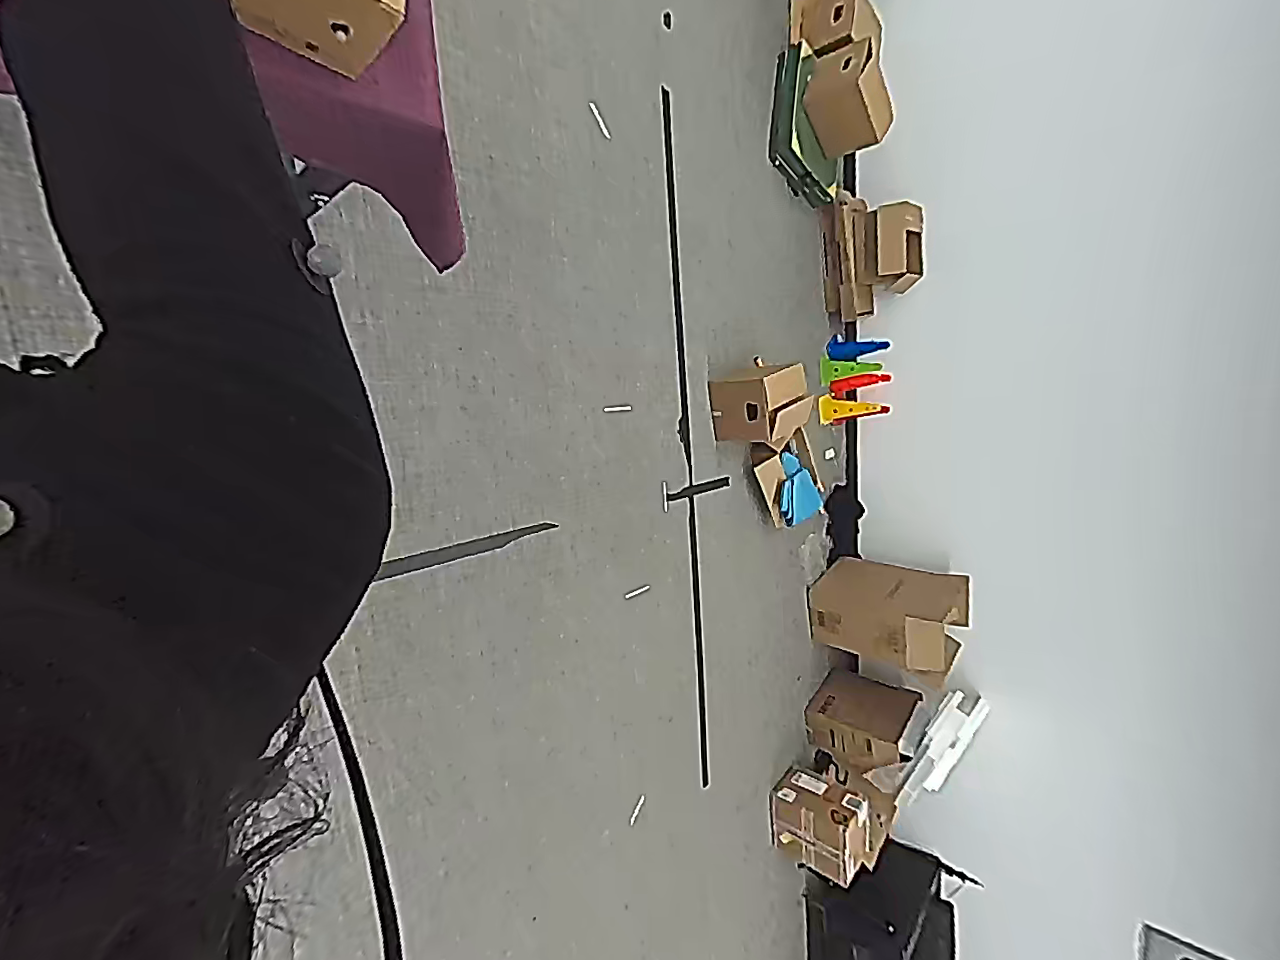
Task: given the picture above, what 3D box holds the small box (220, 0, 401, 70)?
[{"bbox_3d":[-0.397,-0.638,0.633,0.168,0.176,0.179,-2,93,-49],"label":"small box"}]
